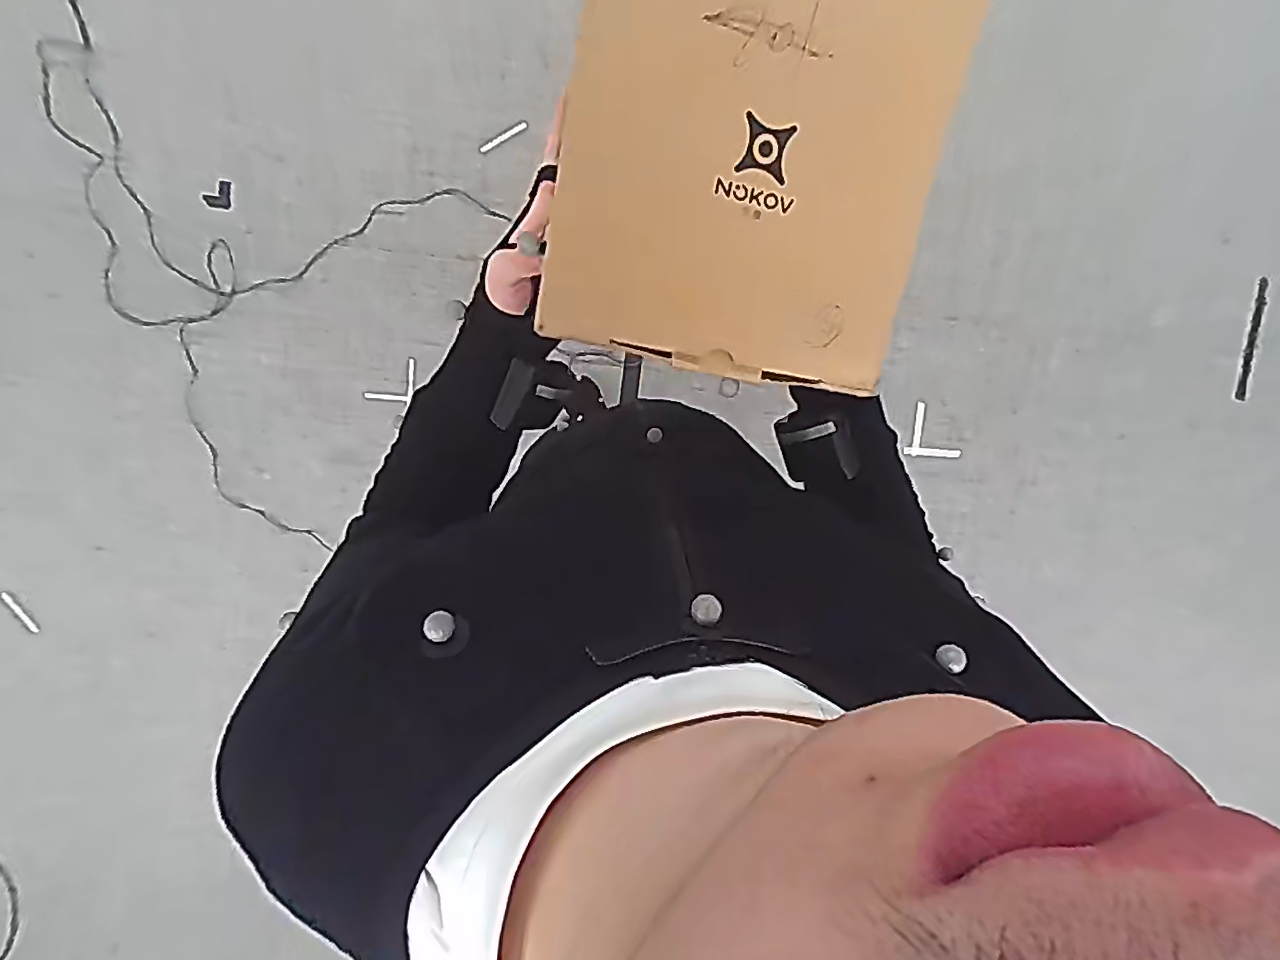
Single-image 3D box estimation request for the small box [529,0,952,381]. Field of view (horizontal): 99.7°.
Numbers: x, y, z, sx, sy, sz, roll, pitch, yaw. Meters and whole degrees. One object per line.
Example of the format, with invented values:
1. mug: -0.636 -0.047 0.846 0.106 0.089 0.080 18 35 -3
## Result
1. small box: 0.030 -0.163 0.314 0.168 0.176 0.179 7 102 -14
